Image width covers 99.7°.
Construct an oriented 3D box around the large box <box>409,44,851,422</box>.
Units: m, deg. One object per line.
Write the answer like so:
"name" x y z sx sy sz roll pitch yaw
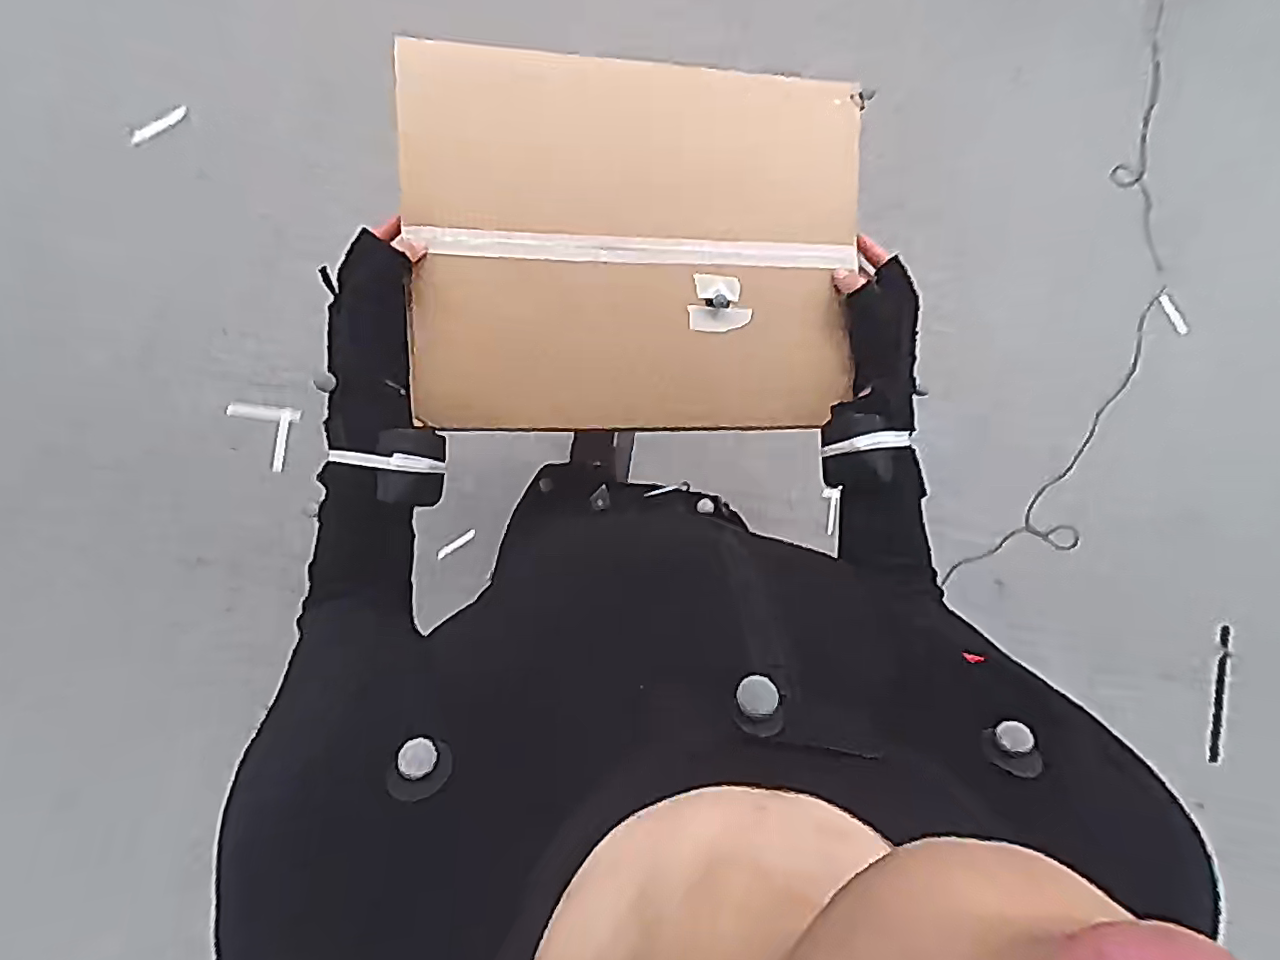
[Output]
"large box" -0.020 -0.230 0.639 0.408 0.320 0.320 -1 97 -10
